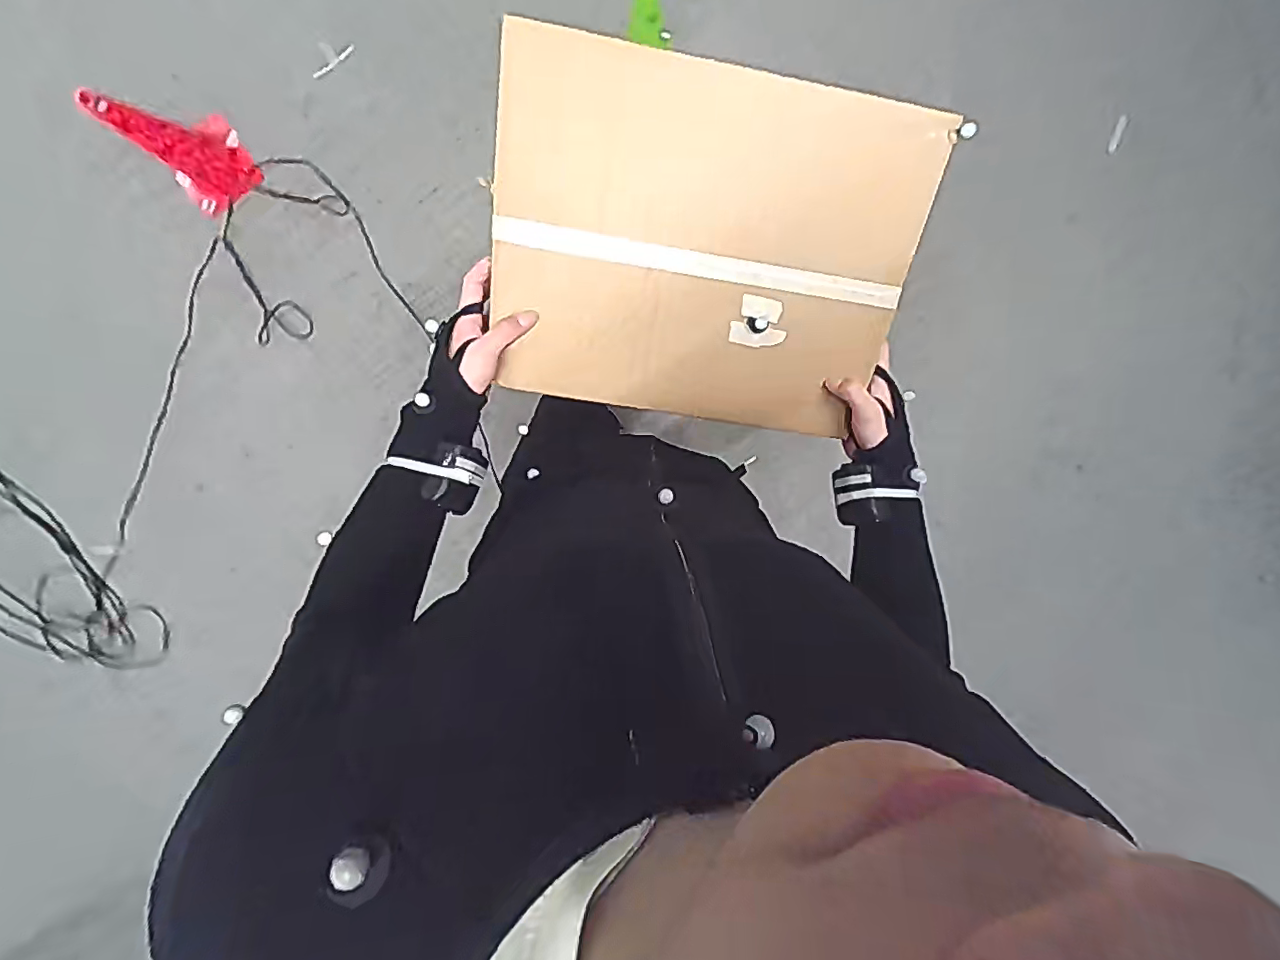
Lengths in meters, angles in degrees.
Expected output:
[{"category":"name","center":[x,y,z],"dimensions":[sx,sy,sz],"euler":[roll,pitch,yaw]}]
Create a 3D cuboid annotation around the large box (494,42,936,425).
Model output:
[{"category":"large box","center":[0.047,-0.280,0.669],"dimensions":[0.408,0.320,0.320],"euler":[6,117,-6]}]
